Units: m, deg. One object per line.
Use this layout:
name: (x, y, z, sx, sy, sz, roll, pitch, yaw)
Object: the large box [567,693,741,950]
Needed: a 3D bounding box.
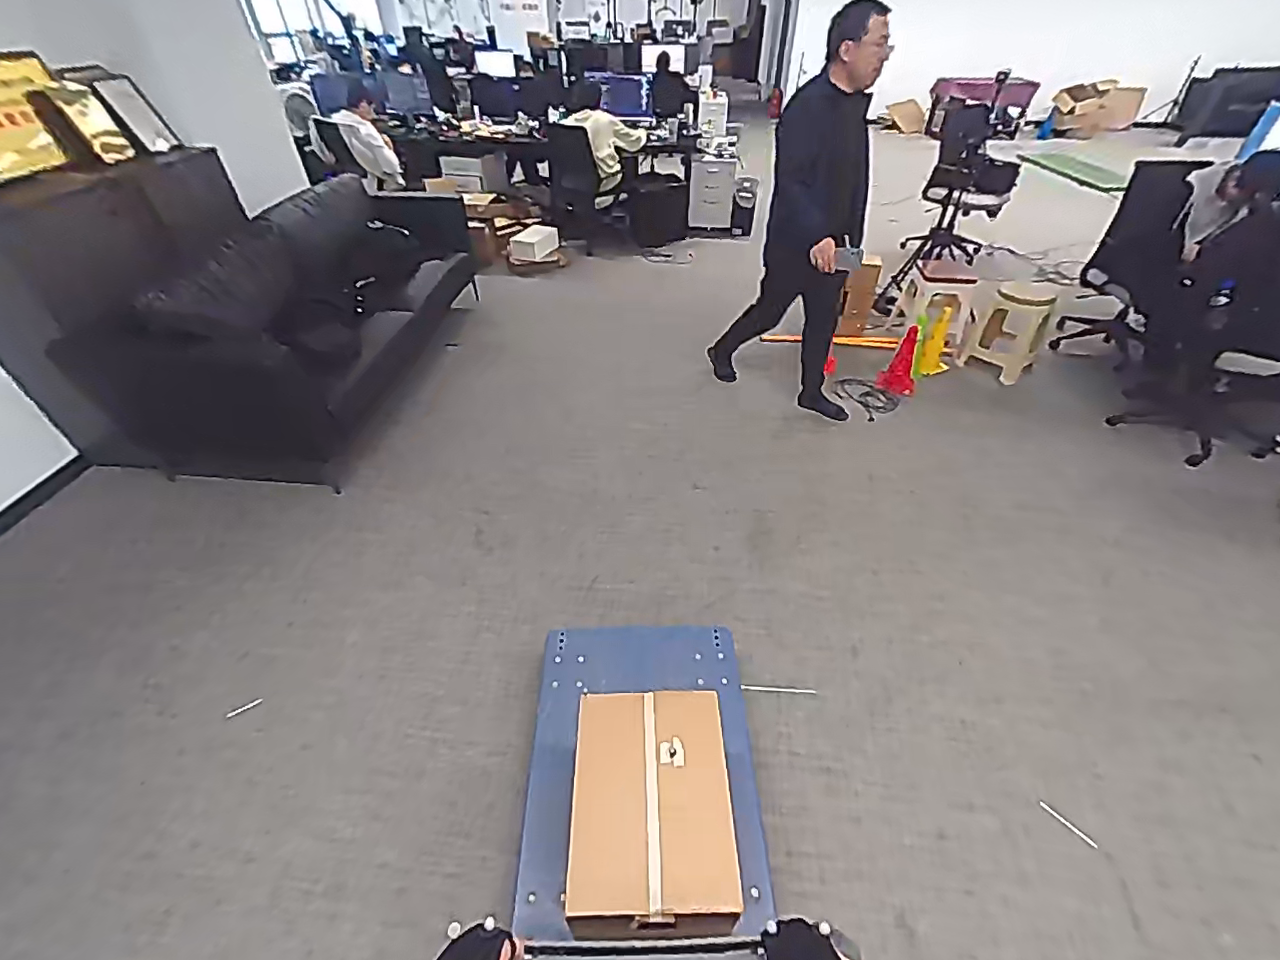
large box: (0.022, 0.737, 1.185, 0.320, 0.320, 0.408, -1, 41, -1)
